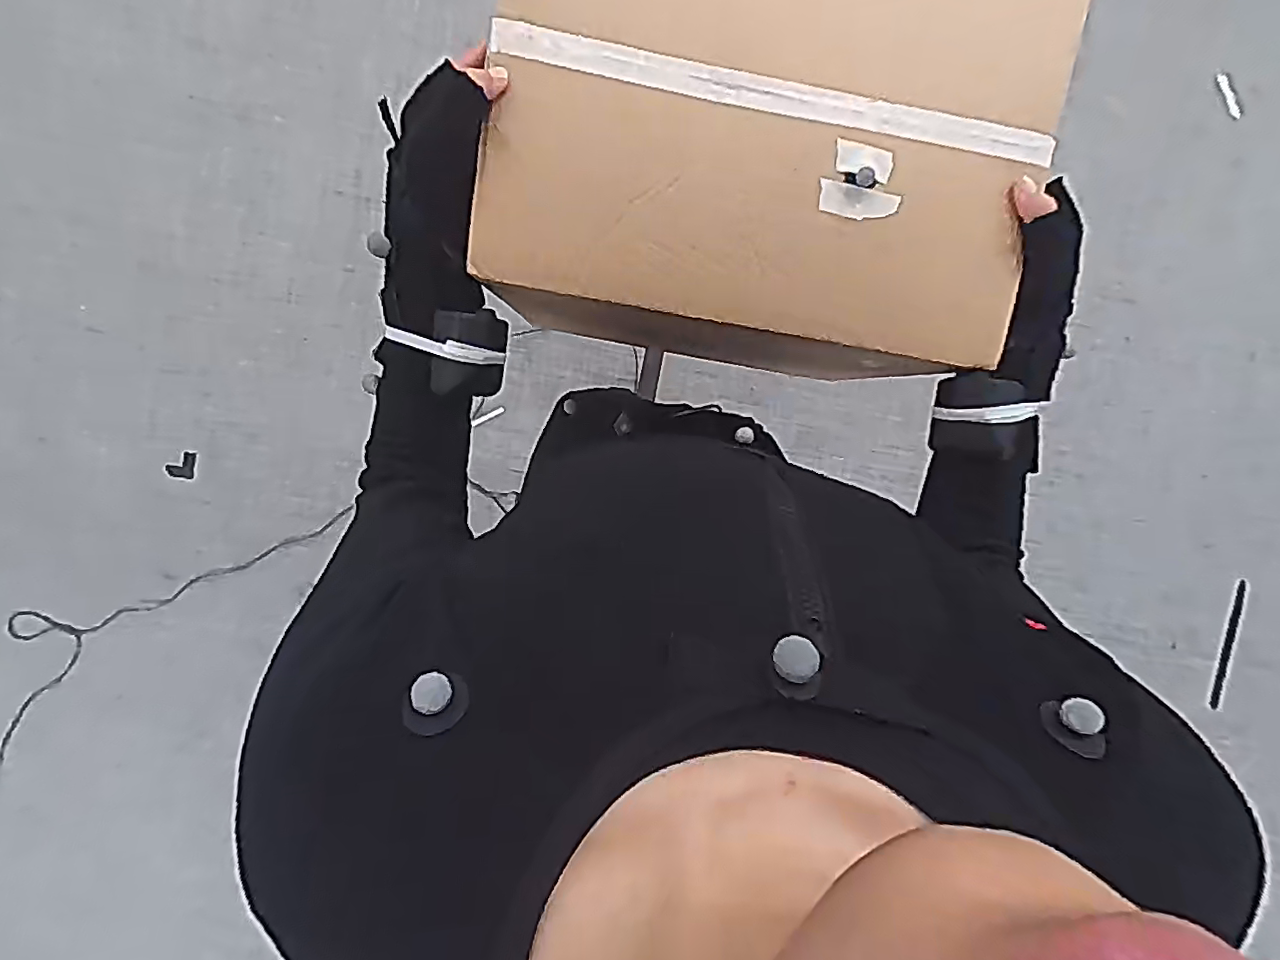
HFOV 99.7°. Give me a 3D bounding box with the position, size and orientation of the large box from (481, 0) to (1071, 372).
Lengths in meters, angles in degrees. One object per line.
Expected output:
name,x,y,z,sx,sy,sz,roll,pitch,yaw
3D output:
large box,0.088,-0.295,0.537,0.408,0.320,0.320,9,100,-5
